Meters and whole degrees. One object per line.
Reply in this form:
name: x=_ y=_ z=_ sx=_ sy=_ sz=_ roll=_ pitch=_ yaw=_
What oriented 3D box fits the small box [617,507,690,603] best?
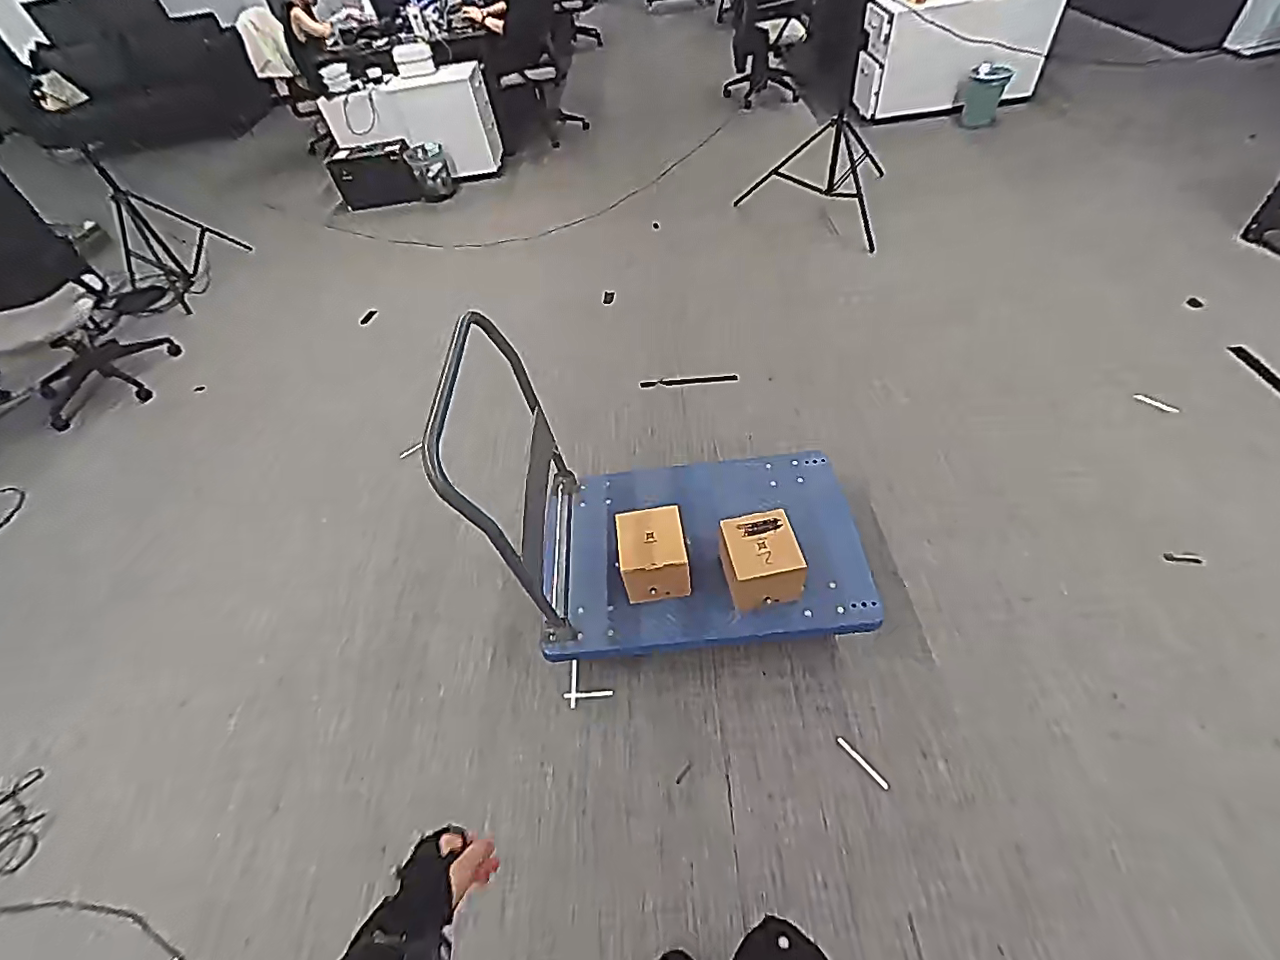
small box: x=0.035 y=0.196 z=1.410 sx=0.168 sy=0.176 sz=0.179 roll=-9 pitch=50 yaw=1
